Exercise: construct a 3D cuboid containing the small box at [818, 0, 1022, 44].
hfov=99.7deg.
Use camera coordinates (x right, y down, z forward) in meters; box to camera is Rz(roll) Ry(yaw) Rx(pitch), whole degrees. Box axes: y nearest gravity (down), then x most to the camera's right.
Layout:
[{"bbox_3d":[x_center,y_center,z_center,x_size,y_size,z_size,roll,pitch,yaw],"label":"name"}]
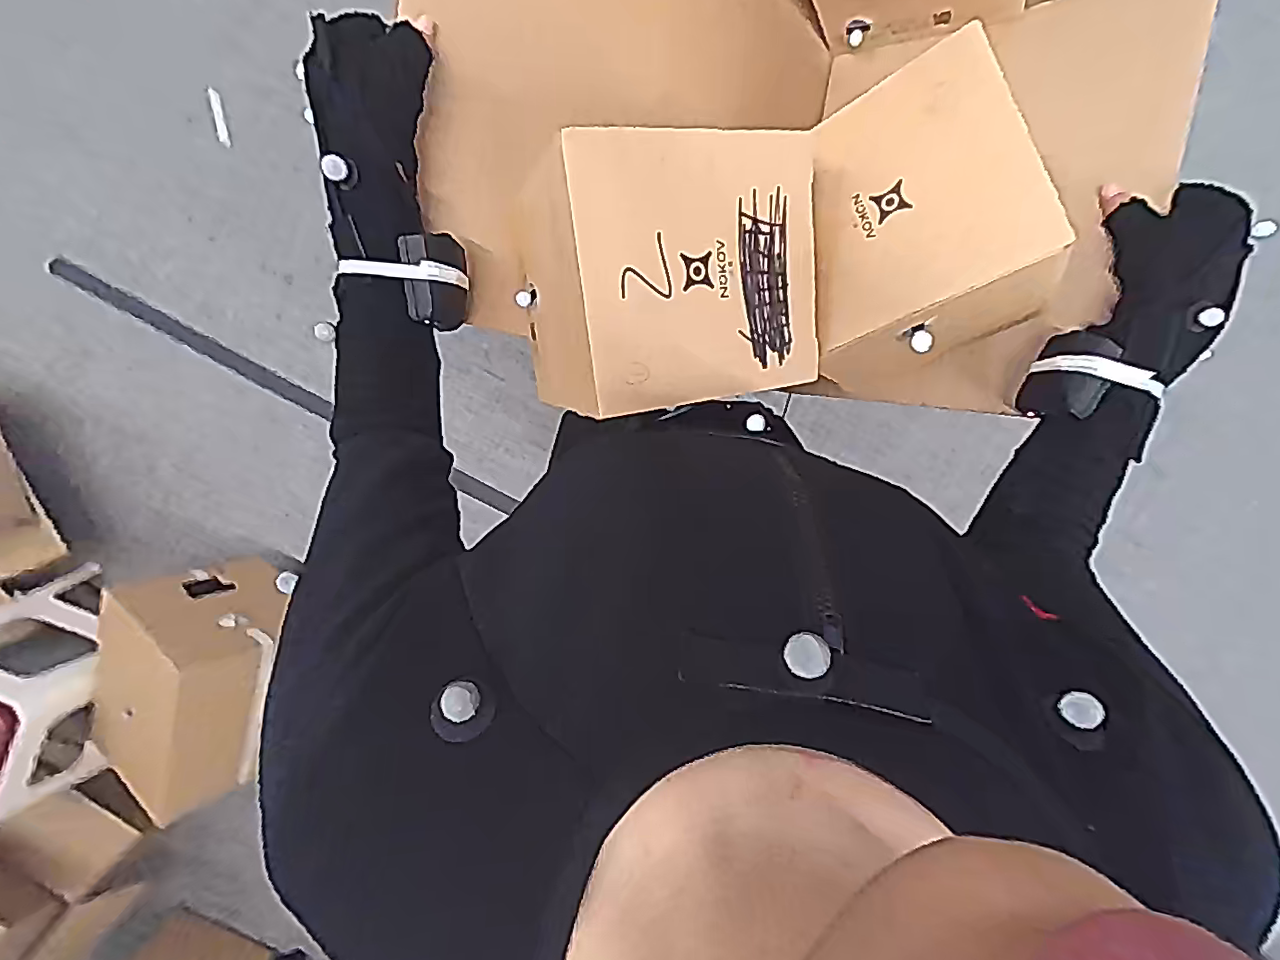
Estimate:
[{"bbox_3d":[0.241,-0.503,0.442,0.168,0.176,0.179,15,95,31],"label":"small box"}]
